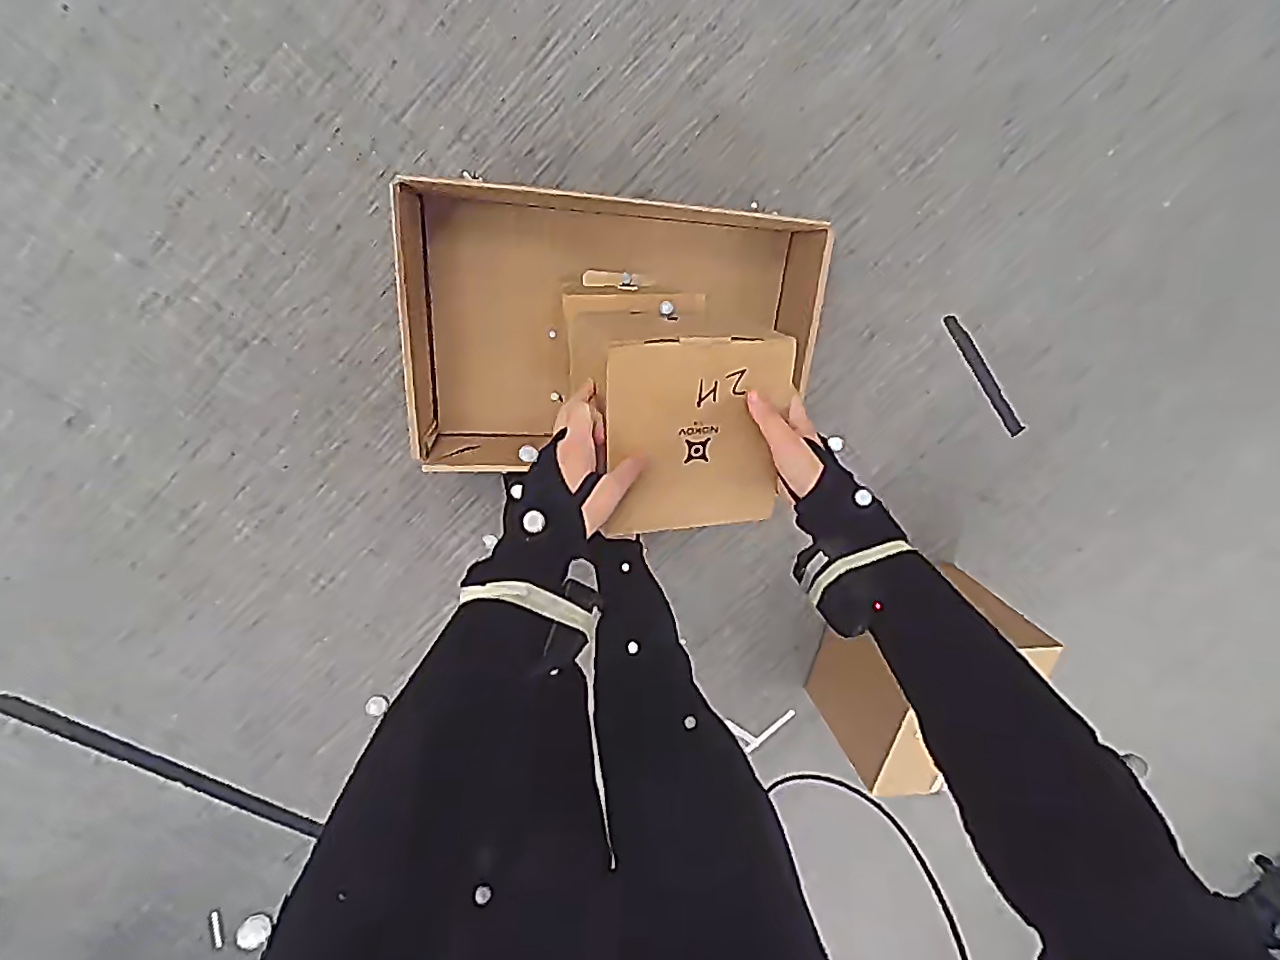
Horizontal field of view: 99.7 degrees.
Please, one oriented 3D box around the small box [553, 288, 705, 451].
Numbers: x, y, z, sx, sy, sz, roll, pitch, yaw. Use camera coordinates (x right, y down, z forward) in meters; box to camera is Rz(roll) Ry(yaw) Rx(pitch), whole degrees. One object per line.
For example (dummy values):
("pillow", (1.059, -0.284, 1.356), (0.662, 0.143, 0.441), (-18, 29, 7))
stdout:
("small box", (-0.023, -0.151, 0.705), (0.168, 0.176, 0.179), (-5, 113, -11))
